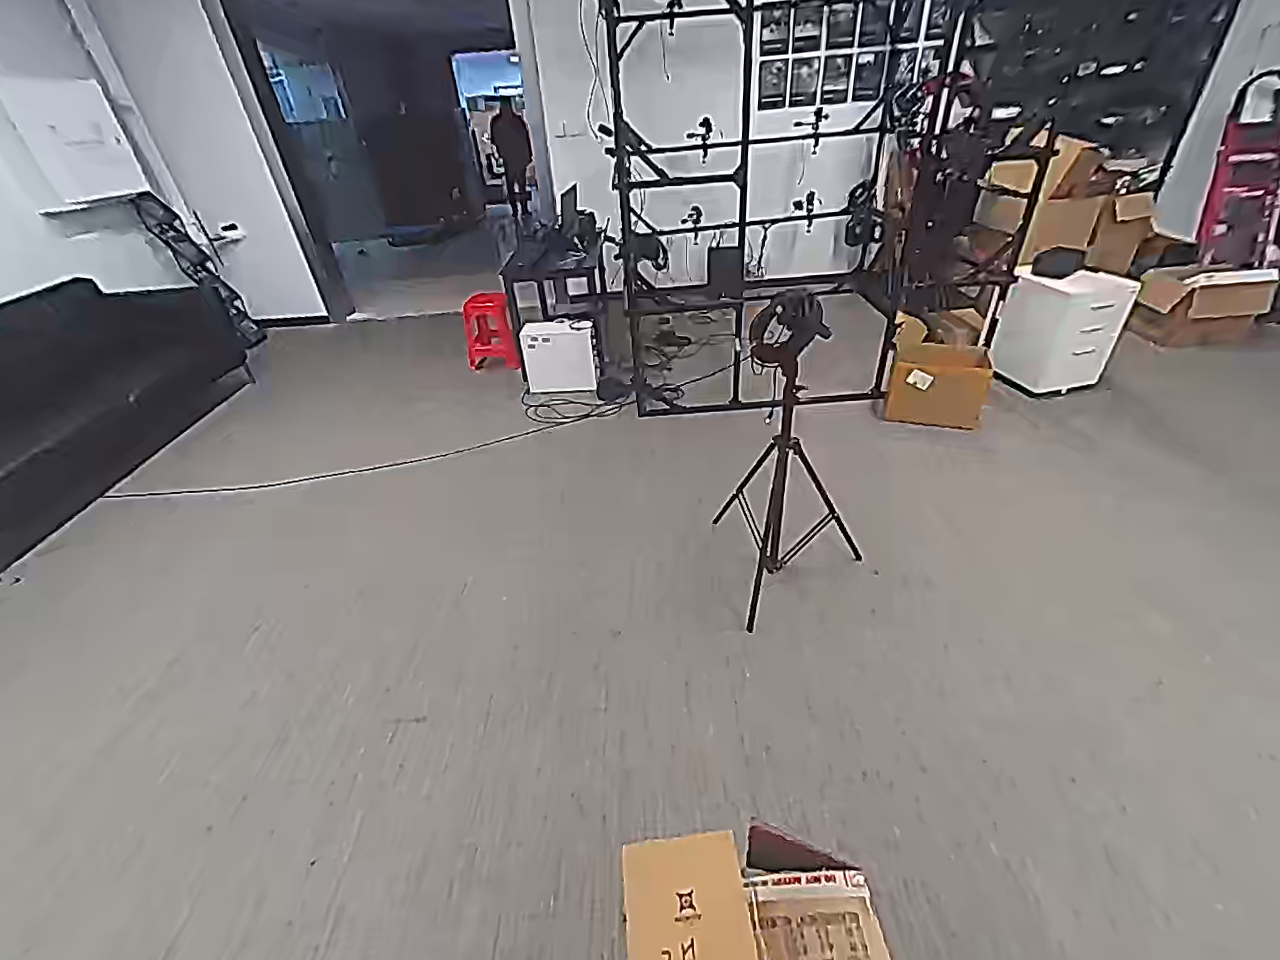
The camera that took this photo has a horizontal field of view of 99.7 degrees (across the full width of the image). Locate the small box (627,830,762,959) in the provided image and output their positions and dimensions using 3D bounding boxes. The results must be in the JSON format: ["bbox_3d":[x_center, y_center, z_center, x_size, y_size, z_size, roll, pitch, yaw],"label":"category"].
[{"bbox_3d":[0.075,0.638,0.770,0.168,0.176,0.179,-8,37,0],"label":"small box"}]
